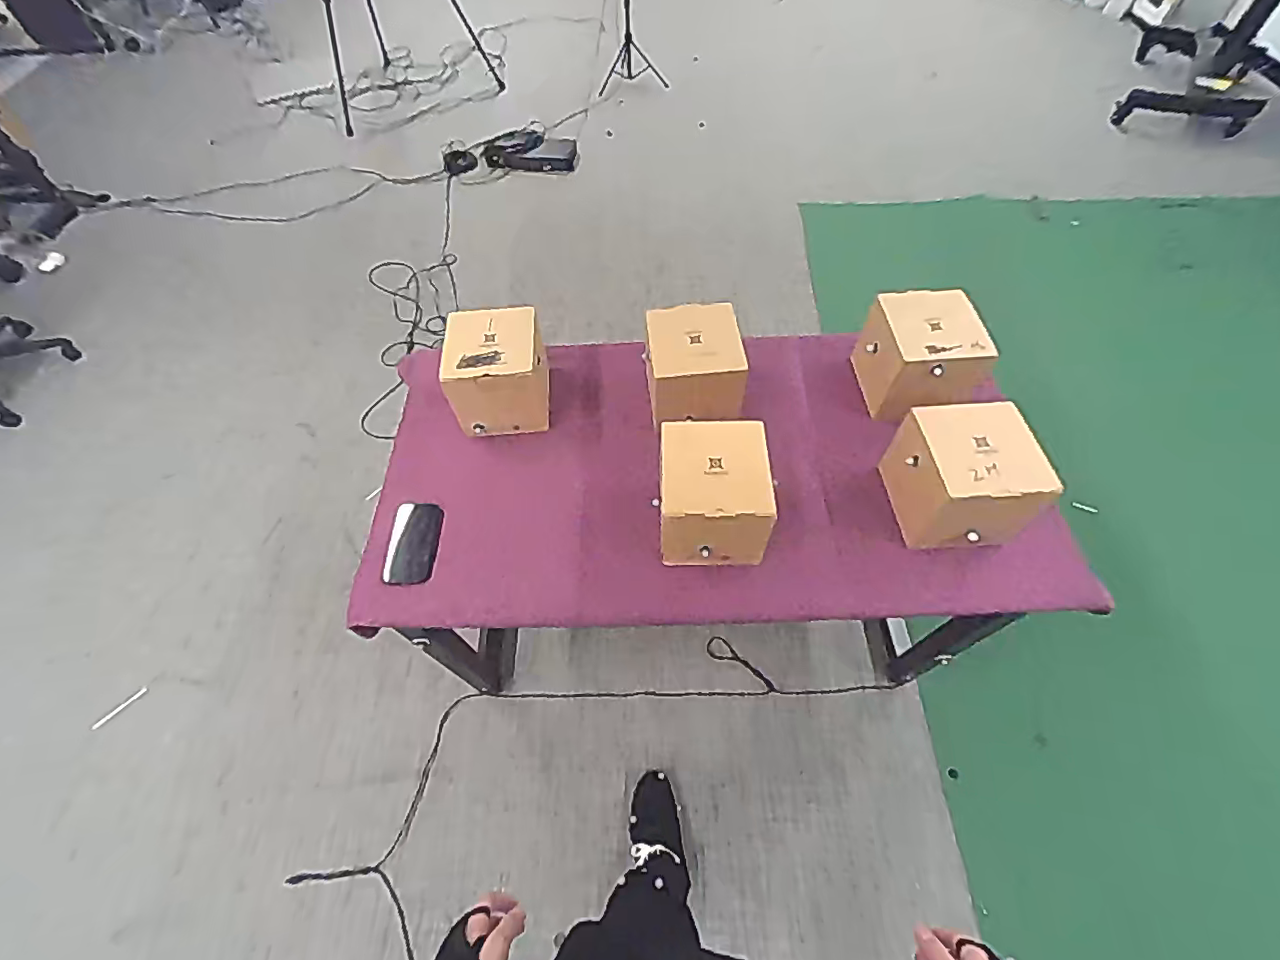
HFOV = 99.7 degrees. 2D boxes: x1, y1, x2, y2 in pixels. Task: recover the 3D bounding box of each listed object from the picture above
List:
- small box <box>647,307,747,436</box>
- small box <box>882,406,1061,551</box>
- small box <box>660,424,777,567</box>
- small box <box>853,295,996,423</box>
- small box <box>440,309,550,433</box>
[{"bbox_3d":[0.100,-0.206,1.039,0.168,0.176,0.179,-5,58,0],"label":"small box"},{"bbox_3d":[0.522,0.000,0.887,0.168,0.176,0.179,-3,56,1],"label":"small box"},{"bbox_3d":[0.117,0.027,0.887,0.168,0.176,0.179,0,56,1],"label":"small box"},{"bbox_3d":[0.530,-0.229,1.039,0.168,0.176,0.179,-4,57,0],"label":"small box"},{"bbox_3d":[-0.270,-0.203,1.046,0.168,0.176,0.179,-4,56,-2],"label":"small box"}]
